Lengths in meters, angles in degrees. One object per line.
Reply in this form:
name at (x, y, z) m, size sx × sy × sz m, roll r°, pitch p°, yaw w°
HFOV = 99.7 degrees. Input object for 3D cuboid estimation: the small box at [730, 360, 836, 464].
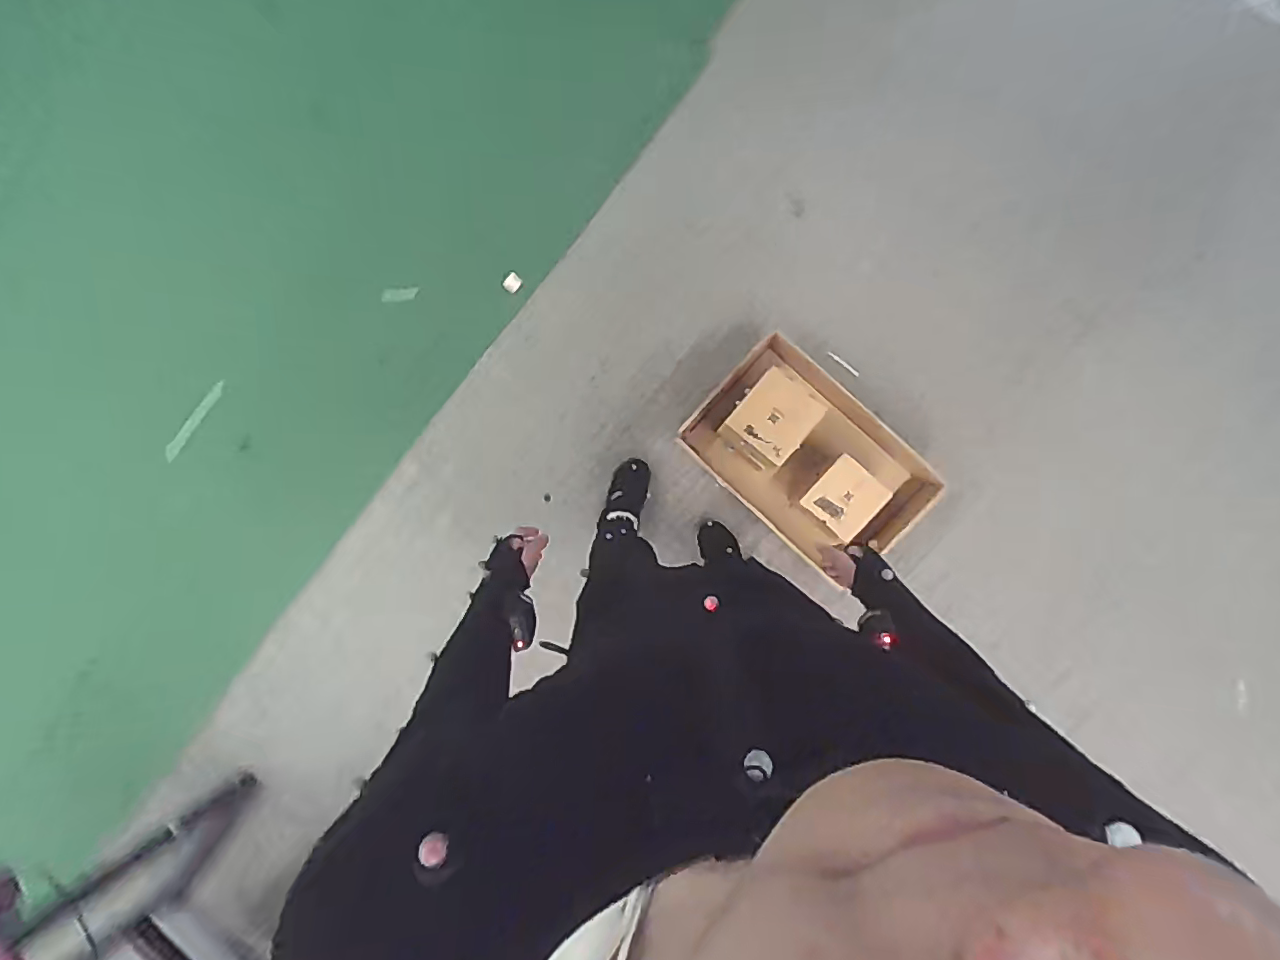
small box at (0.331, -0.156, 1.301) m, size 0.168 × 0.176 × 0.179 m, roll 42°, pitch 93°, yaw 5°
